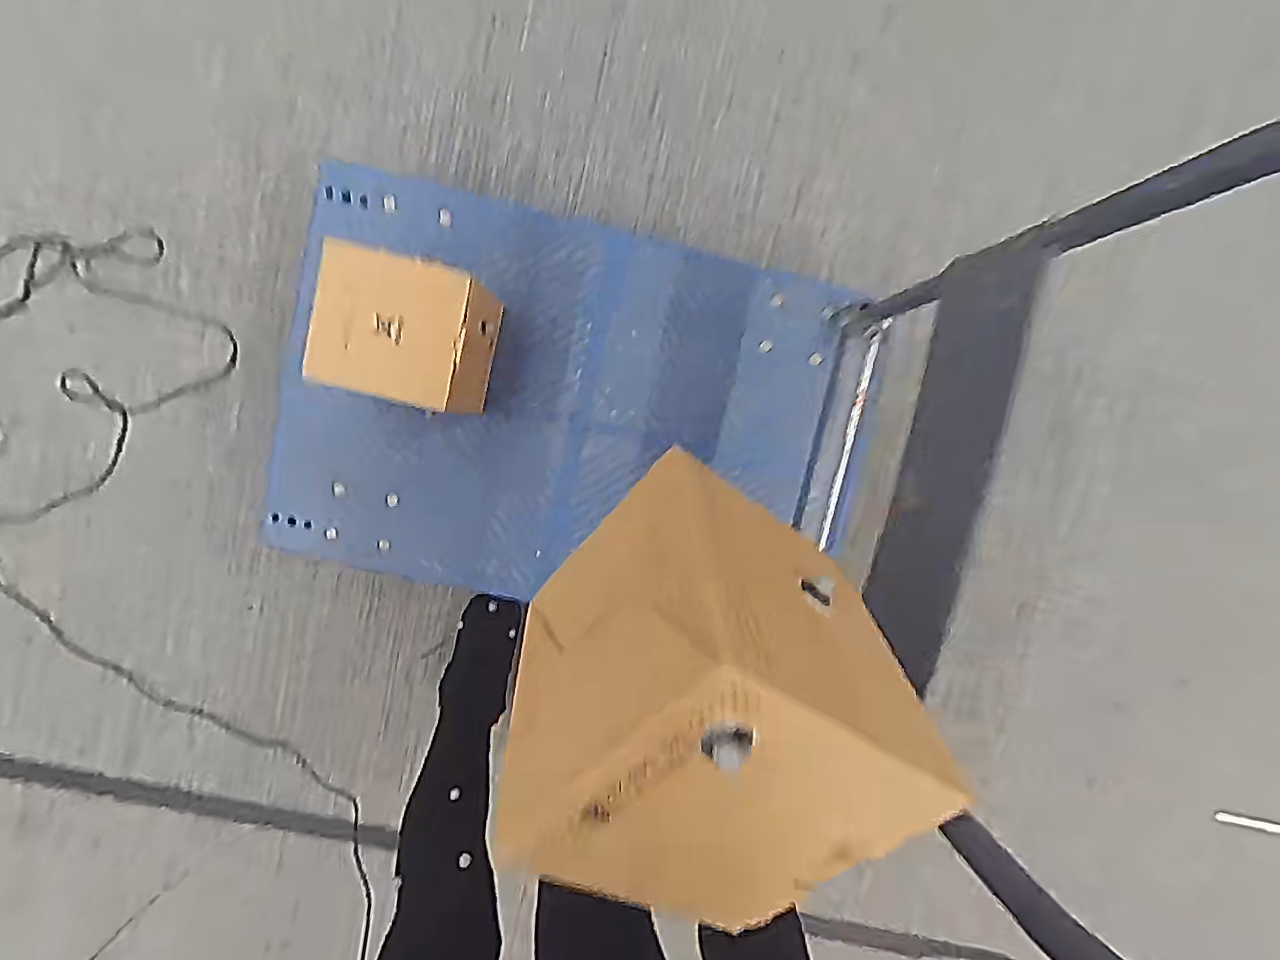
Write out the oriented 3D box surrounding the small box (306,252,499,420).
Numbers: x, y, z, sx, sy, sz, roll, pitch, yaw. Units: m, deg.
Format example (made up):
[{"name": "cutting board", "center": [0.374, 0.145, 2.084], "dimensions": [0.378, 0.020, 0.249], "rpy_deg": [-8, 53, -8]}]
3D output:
[{"name": "small box", "center": [-0.302, -0.179, 0.726], "dimensions": [0.179, 0.176, 0.168], "rpy_deg": [13, 93, -3]}]
